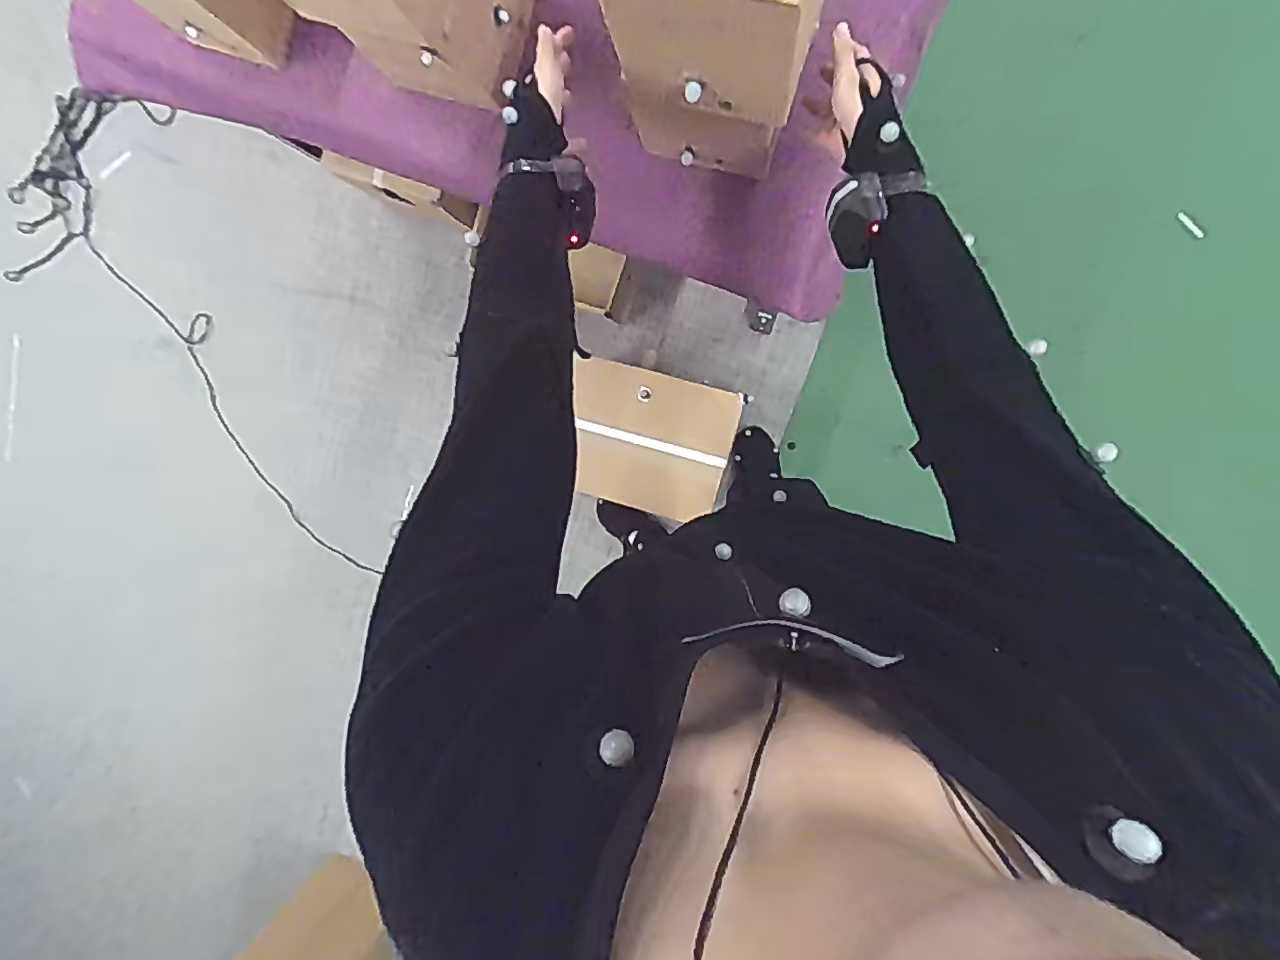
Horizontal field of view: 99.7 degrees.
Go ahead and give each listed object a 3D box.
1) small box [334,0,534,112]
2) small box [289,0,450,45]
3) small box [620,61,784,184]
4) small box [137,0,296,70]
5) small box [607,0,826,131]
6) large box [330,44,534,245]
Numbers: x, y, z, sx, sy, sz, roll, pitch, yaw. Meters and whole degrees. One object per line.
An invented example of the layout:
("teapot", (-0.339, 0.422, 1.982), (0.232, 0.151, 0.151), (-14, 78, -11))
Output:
("small box", (-0.252, -0.593, 0.665), (0.179, 0.176, 0.168), (19, 99, 8))
("small box", (-0.291, -0.559, 0.508), (0.179, 0.176, 0.168), (18, 100, 8))
("small box", (0.093, -0.478, 0.617), (0.168, 0.176, 0.179), (18, 99, 9))
("small box", (-0.584, -0.700, 0.714), (0.168, 0.176, 0.179), (21, 100, 7))
("small box", (0.074, -0.443, 0.457), (0.168, 0.176, 0.179), (18, 99, 9))
("large box", (-0.502, -0.870, 1.354), (0.320, 0.320, 0.408), (20, 102, 7))
